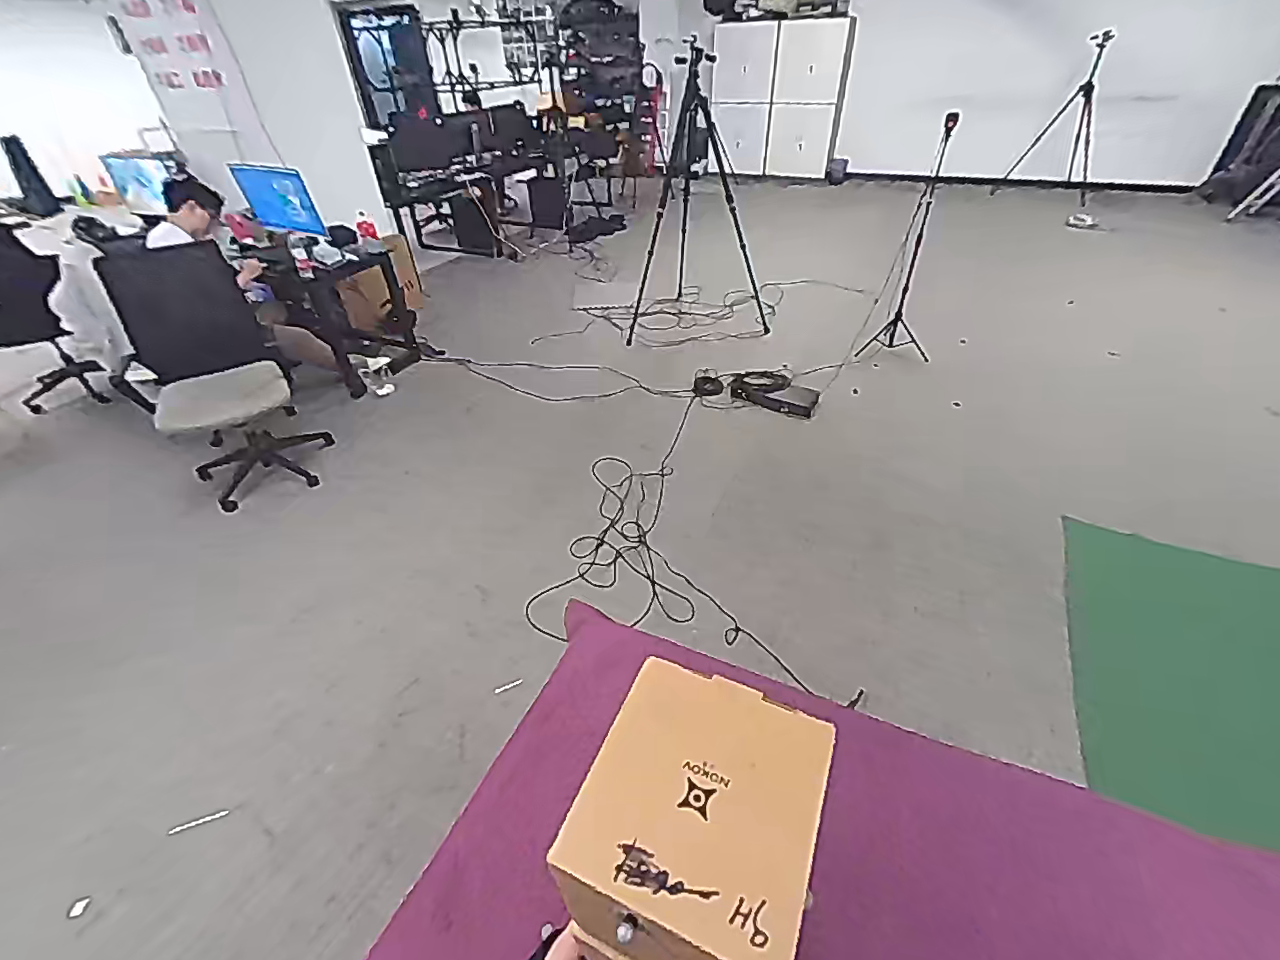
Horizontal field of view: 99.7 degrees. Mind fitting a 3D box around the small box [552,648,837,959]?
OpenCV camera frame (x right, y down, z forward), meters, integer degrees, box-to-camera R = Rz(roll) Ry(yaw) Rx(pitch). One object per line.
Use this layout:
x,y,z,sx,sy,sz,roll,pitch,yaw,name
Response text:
0.050,0.281,0.446,0.168,0.176,0.179,14,42,21,small box
